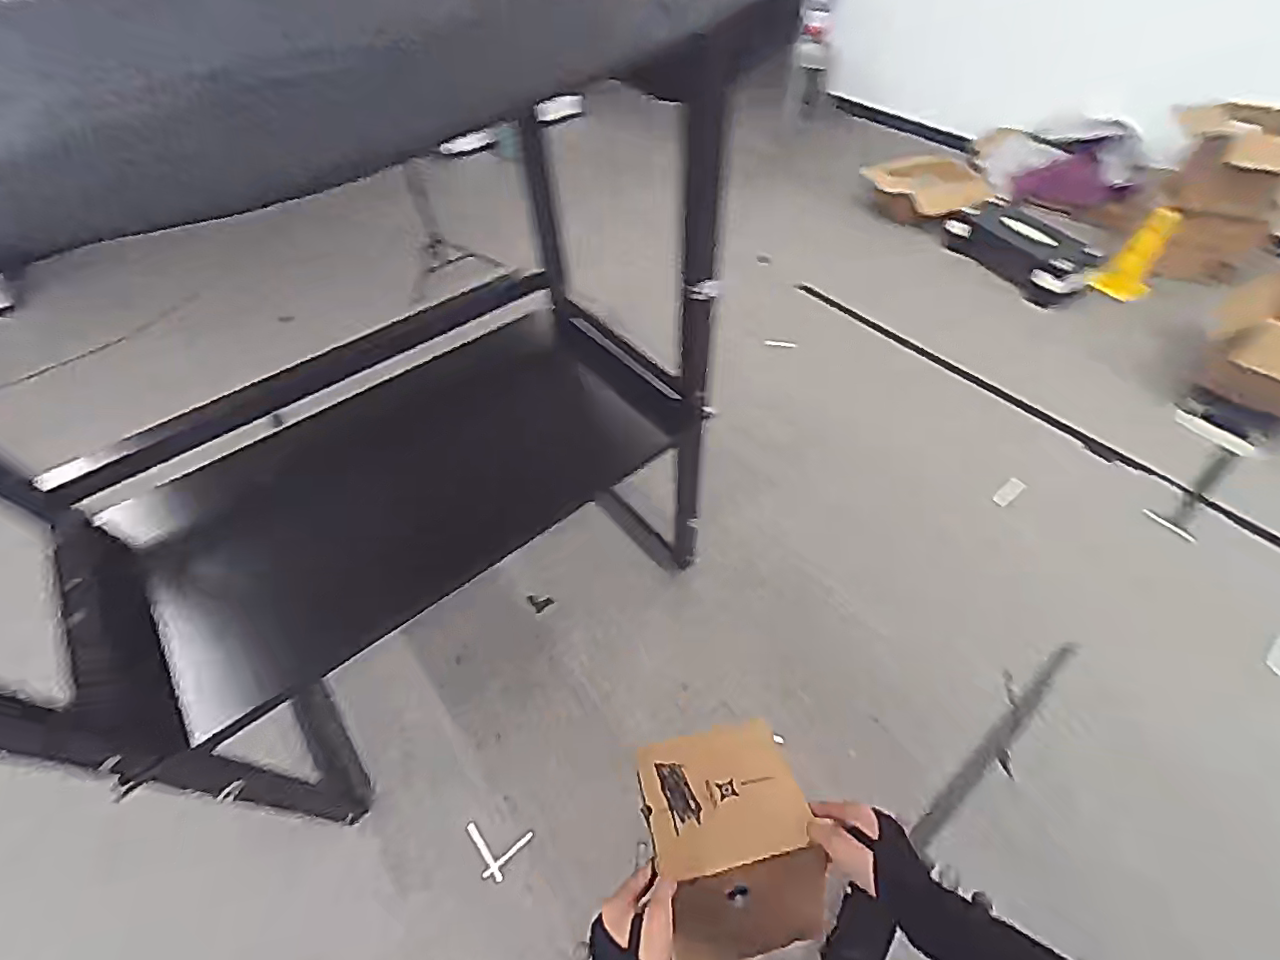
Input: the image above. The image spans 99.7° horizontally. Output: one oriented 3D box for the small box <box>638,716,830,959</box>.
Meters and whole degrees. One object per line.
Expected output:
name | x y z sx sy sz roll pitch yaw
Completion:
small box | 0.104 0.416 0.632 0.179 0.176 0.168 -9 24 -7
